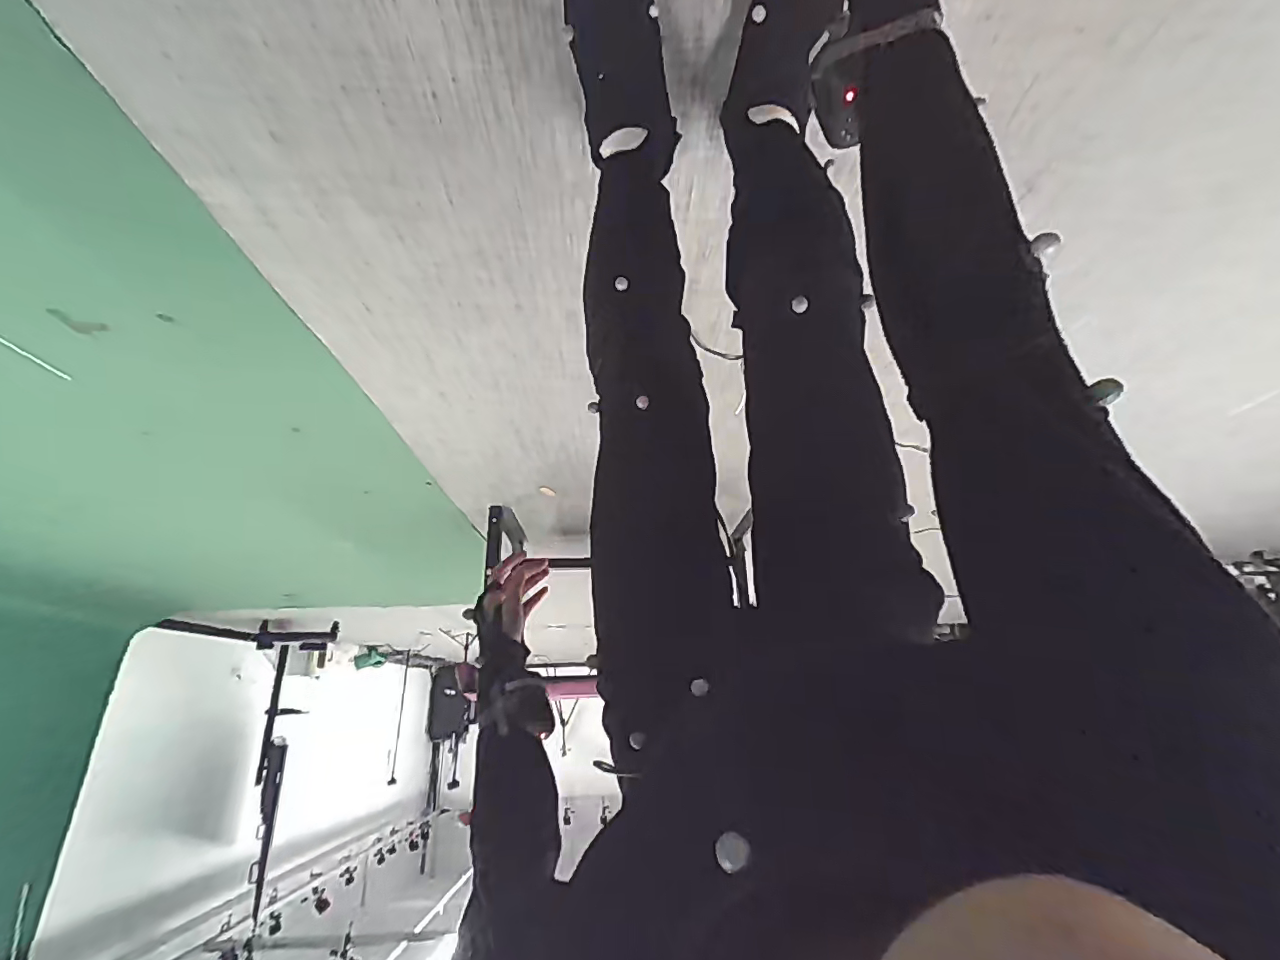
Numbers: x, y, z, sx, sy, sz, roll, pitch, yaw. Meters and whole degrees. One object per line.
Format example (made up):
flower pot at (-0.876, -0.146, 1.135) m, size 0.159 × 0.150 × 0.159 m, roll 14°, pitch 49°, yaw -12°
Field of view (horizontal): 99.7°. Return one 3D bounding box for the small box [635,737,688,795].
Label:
small box at (0.070, 1.011, 1.937) m, size 0.168 × 0.176 × 0.179 m, roll -1°, pitch 160°, yaw -5°
